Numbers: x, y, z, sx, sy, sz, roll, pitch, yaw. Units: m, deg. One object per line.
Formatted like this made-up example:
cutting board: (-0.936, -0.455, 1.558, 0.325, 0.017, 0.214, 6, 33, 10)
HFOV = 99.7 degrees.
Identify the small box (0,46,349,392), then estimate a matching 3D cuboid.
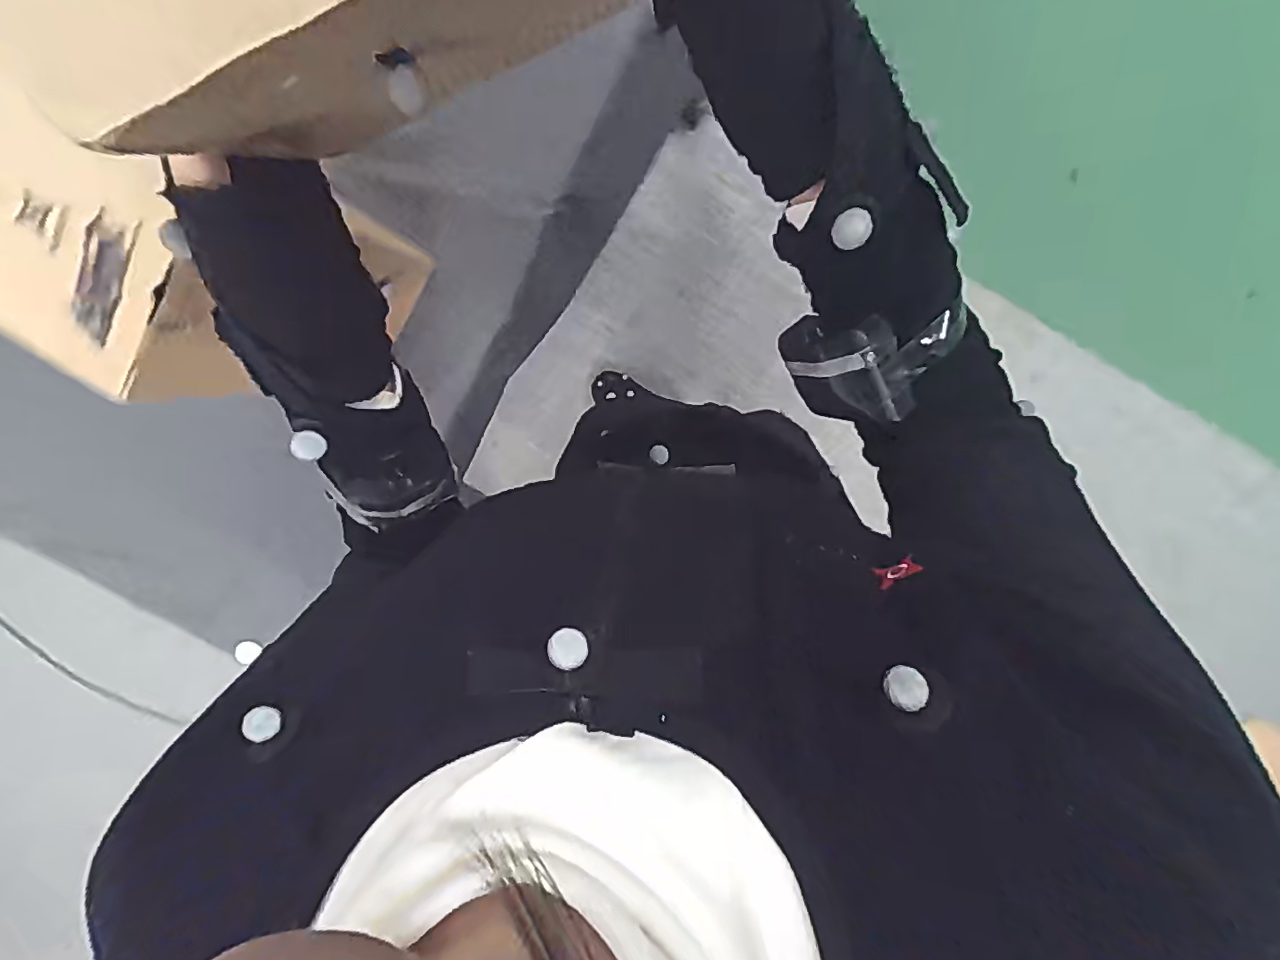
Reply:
small box: (-0.379, -0.190, 0.436, 0.179, 0.176, 0.168, 29, 103, -2)

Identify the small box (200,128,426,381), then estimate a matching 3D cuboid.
small box: (-0.367, -0.229, 0.595, 0.168, 0.176, 0.179, 32, 105, -1)

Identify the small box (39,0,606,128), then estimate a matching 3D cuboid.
small box: (-0.094, -0.233, 0.159, 0.179, 0.176, 0.168, -24, 118, 8)
